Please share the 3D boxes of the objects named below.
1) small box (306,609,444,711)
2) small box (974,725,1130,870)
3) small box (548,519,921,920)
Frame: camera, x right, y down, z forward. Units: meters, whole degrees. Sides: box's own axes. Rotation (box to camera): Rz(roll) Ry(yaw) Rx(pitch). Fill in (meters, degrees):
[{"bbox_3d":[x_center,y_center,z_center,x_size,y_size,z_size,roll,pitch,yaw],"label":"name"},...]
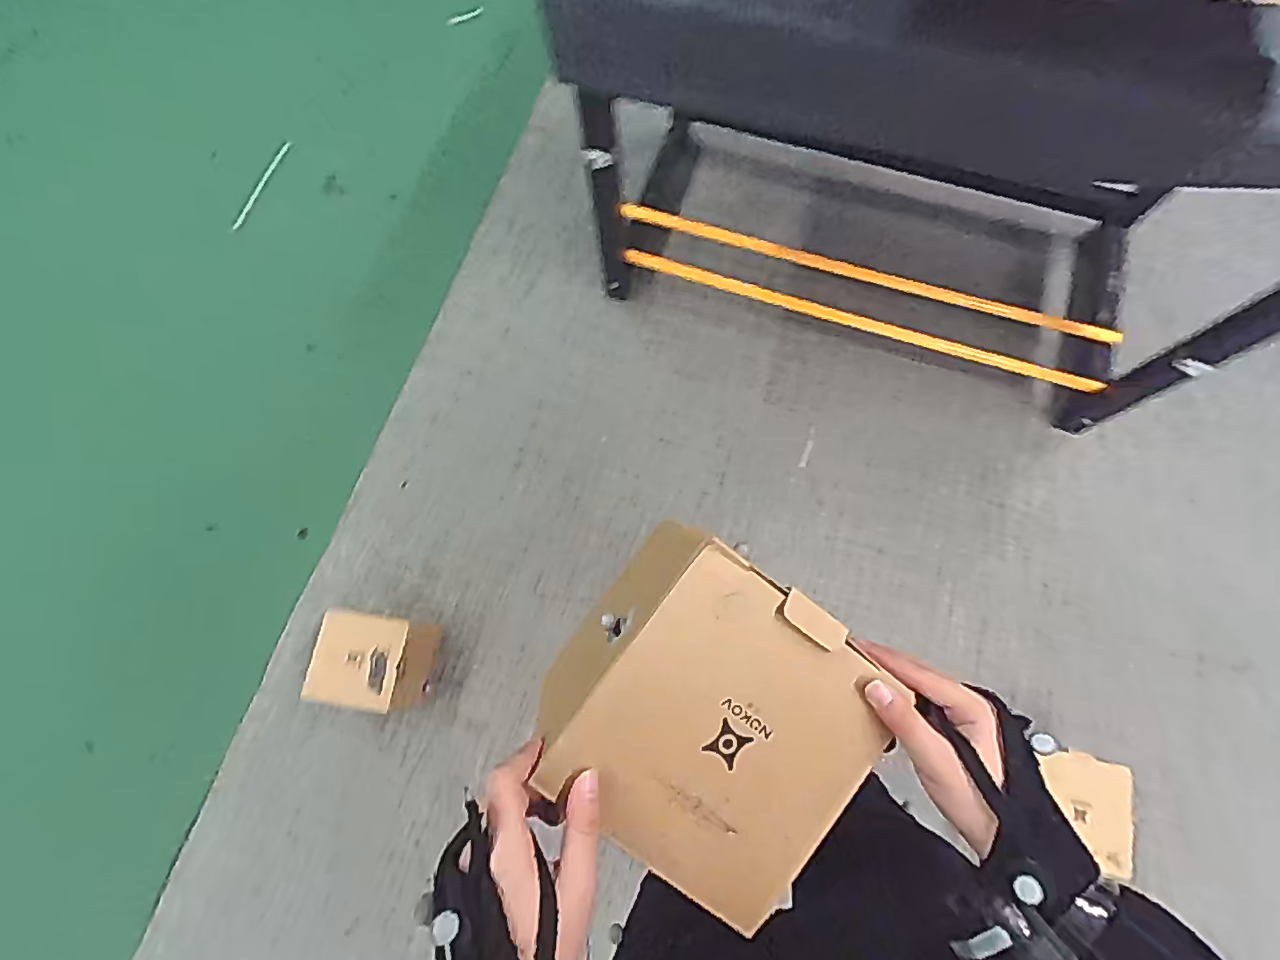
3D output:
[{"bbox_3d":[-0.527,0.361,1.104,0.179,0.176,0.168,7,74,5],"label":"small box"},{"bbox_3d":[0.745,0.568,0.995,0.168,0.176,0.179,12,74,5],"label":"small box"},{"bbox_3d":[0.050,0.144,0.398,0.168,0.176,0.179,38,86,-5],"label":"small box"}]
